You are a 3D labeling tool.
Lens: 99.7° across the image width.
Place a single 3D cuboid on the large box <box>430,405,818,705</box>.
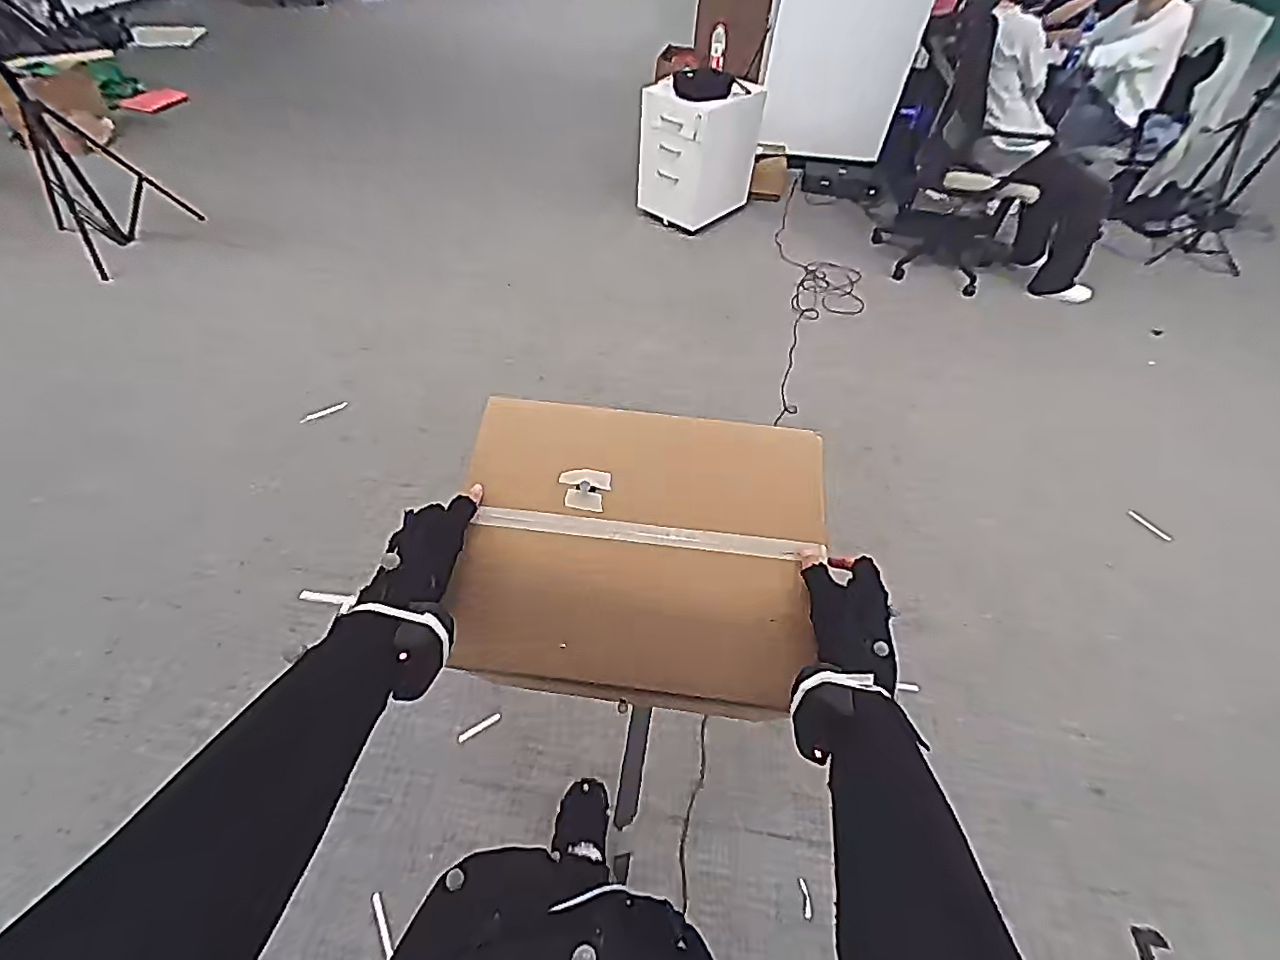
[{"bbox_3d":[-0.001,0.122,0.742,0.408,0.320,0.320,6,65,3],"label":"large box"}]
